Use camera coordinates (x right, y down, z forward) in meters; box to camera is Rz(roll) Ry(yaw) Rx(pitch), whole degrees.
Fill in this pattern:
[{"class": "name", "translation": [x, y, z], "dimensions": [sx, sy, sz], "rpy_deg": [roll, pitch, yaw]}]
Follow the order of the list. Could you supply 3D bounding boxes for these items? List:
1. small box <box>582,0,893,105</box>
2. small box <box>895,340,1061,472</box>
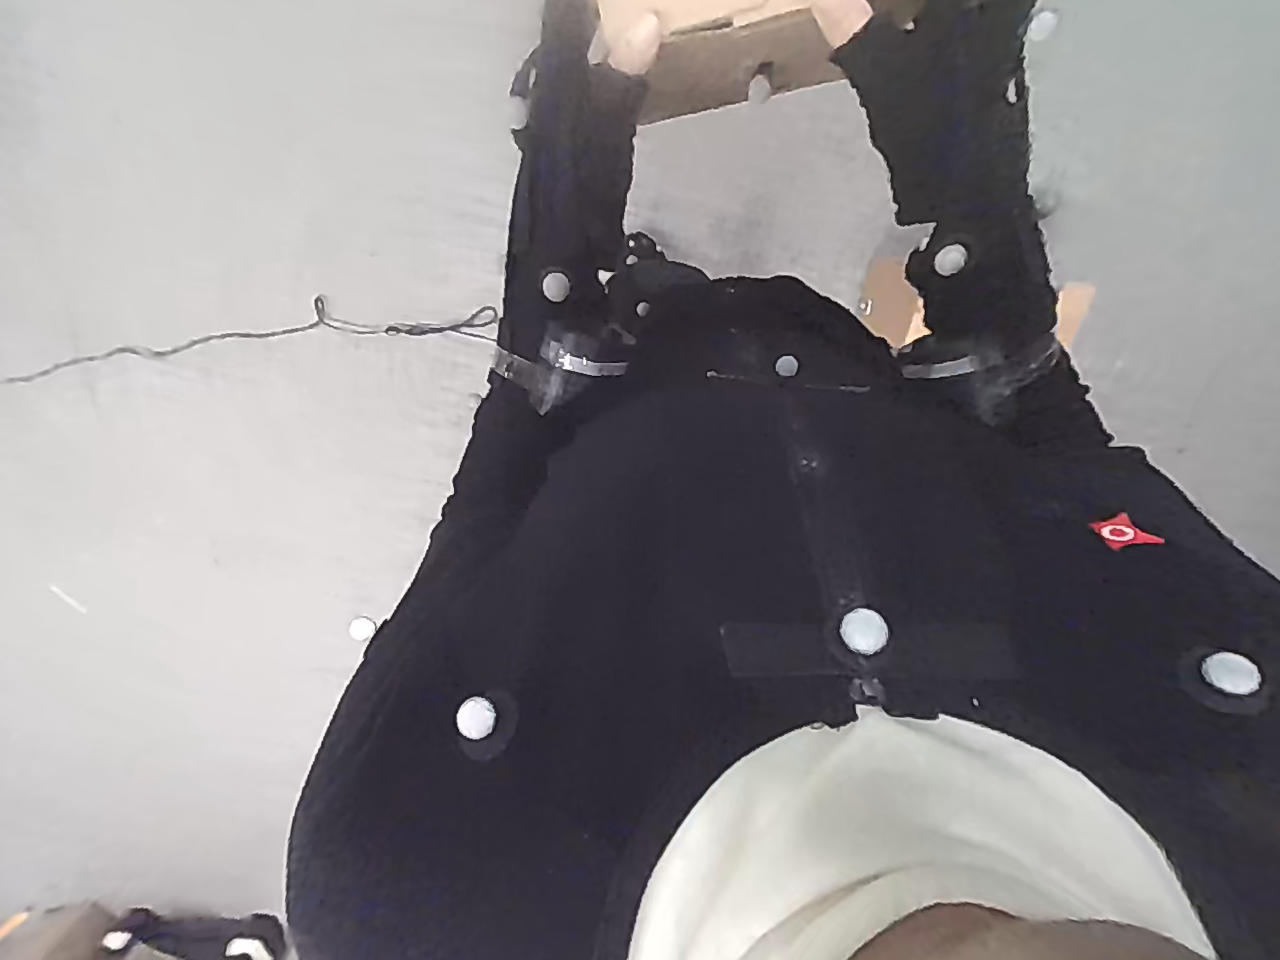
[{"class": "small box", "translation": [0.048, -0.324, 0.285], "dimensions": [0.168, 0.176, 0.179], "rpy_deg": [-9, 113, 9]}, {"class": "small box", "translation": [0.593, -0.141, 0.983], "dimensions": [0.168, 0.176, 0.179], "rpy_deg": [13, 113, -3]}]
